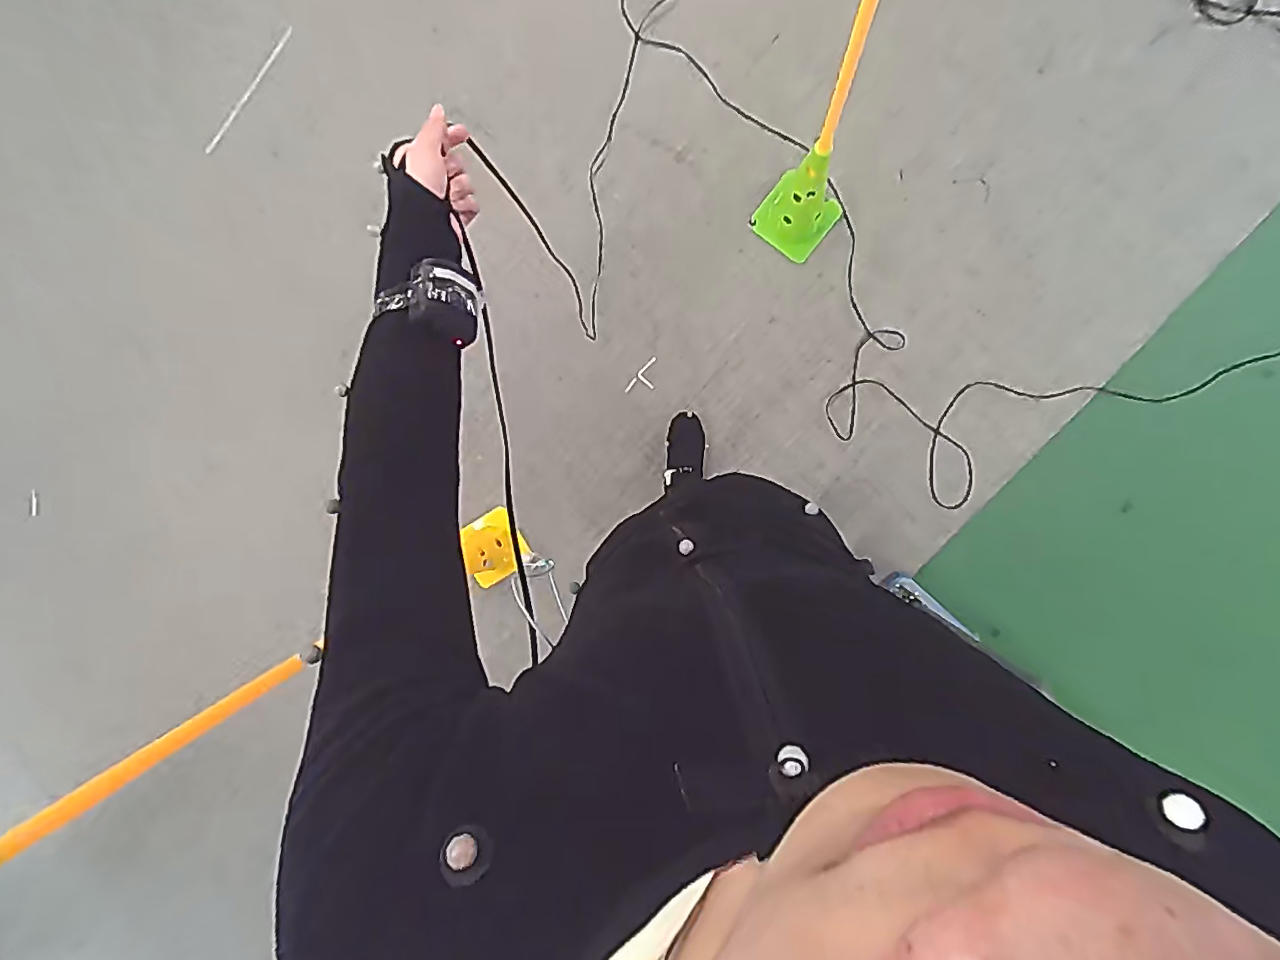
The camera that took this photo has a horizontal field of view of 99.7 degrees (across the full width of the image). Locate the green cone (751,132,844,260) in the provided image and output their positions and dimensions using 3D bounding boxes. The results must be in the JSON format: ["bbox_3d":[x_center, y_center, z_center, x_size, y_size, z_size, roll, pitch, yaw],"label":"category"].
[{"bbox_3d":[0.429,-0.743,1.358,0.200,0.368,0.202,38,95,3],"label":"green cone"}]
